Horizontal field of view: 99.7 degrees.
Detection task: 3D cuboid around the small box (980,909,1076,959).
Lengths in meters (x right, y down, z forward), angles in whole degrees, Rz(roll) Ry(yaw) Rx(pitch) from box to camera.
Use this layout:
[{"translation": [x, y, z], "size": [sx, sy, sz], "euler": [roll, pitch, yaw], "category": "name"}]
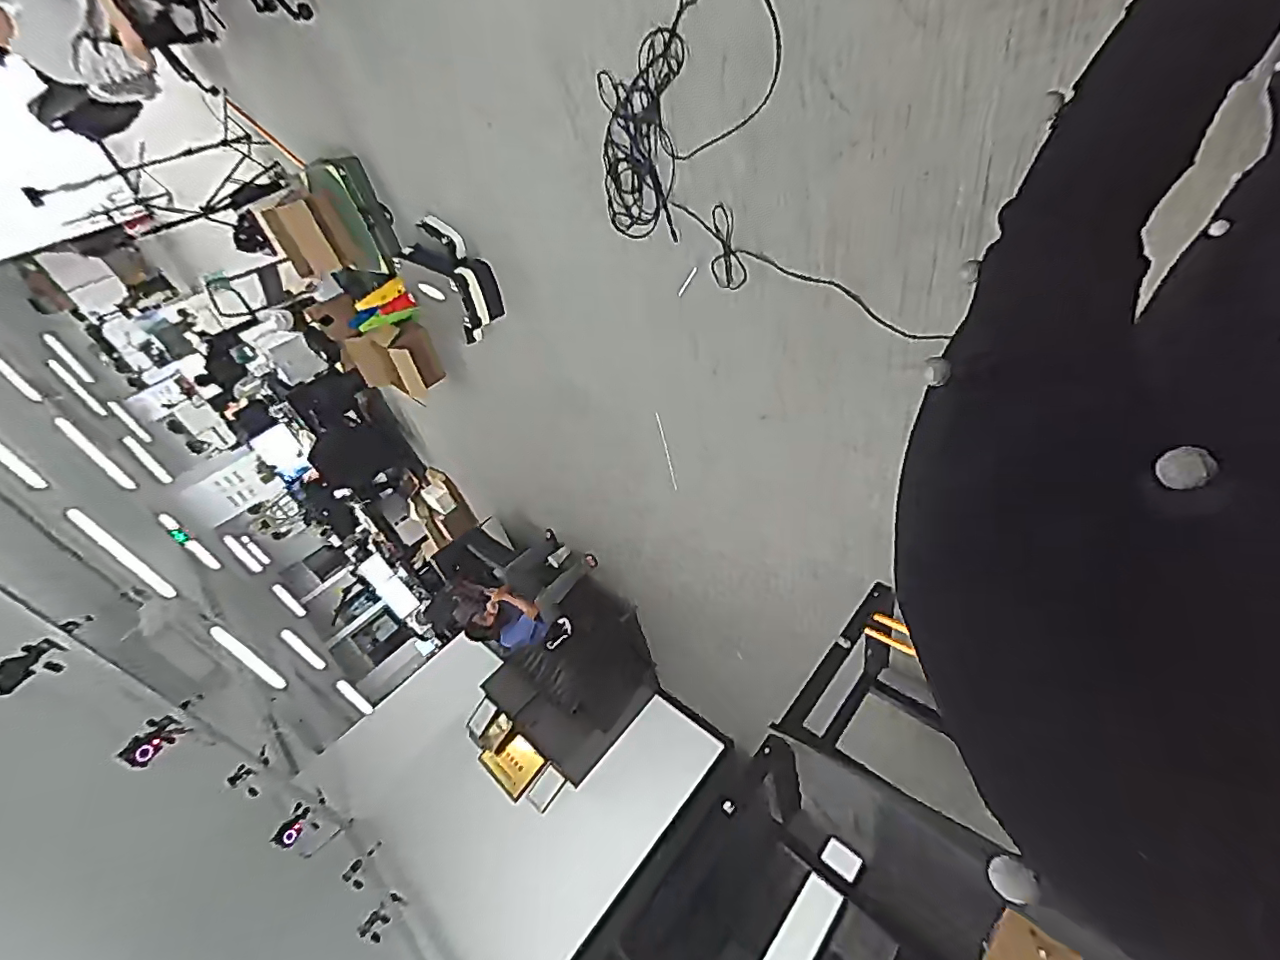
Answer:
[{"translation": [0.958, 1.226, 1.344], "size": [0.168, 0.176, 0.179], "euler": [22, 141, 39], "category": "small box"}]
